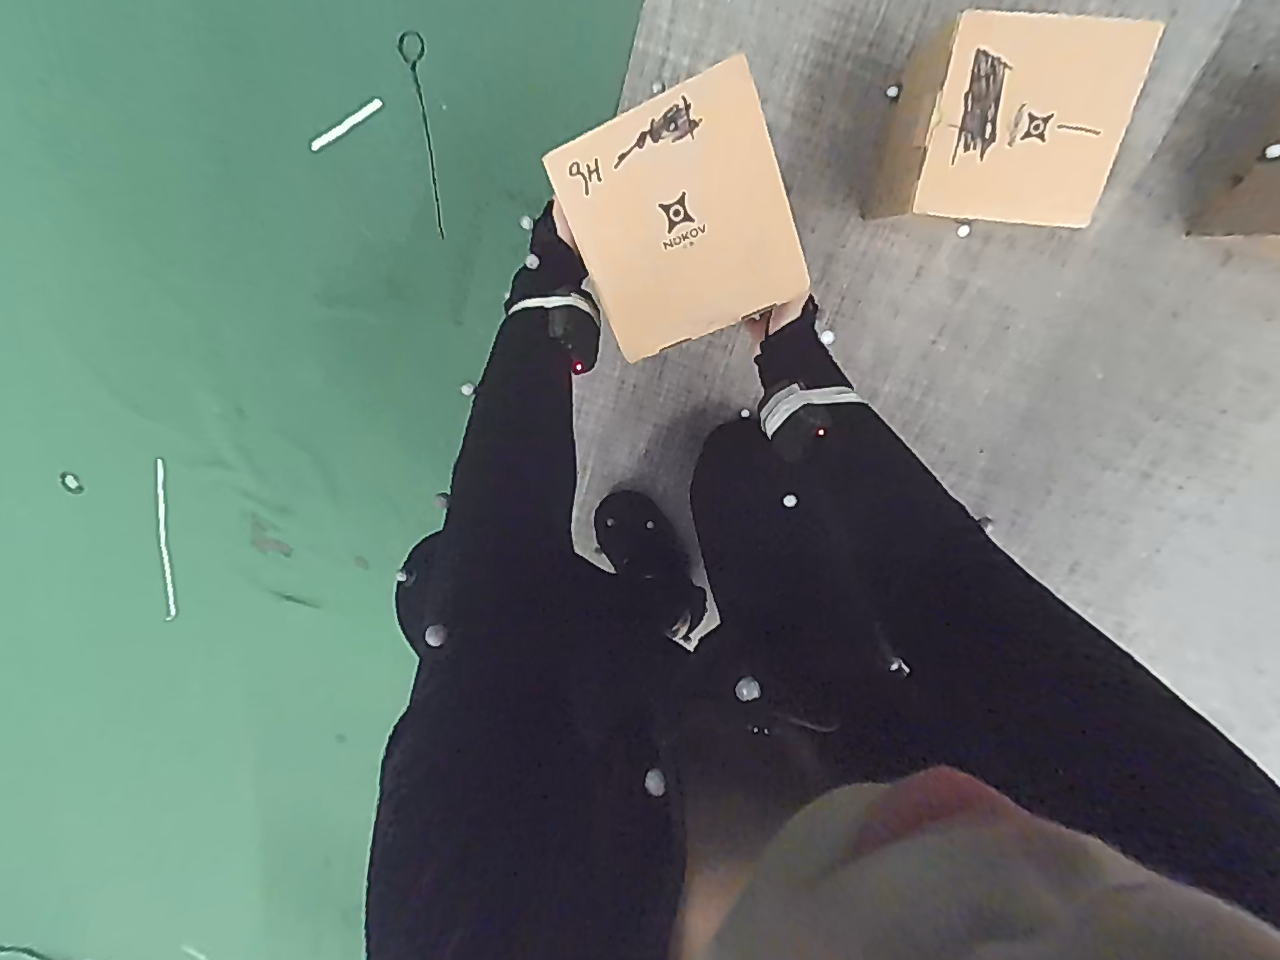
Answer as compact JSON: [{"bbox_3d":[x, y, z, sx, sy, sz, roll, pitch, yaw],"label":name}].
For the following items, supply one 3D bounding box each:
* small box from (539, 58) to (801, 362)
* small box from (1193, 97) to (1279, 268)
[{"bbox_3d":[0.035,-0.233,0.499,0.168,0.176,0.179,-19,110,13],"label":"small box"},{"bbox_3d":[0.761,-0.309,0.553,0.179,0.176,0.168,19,114,-1],"label":"small box"}]
